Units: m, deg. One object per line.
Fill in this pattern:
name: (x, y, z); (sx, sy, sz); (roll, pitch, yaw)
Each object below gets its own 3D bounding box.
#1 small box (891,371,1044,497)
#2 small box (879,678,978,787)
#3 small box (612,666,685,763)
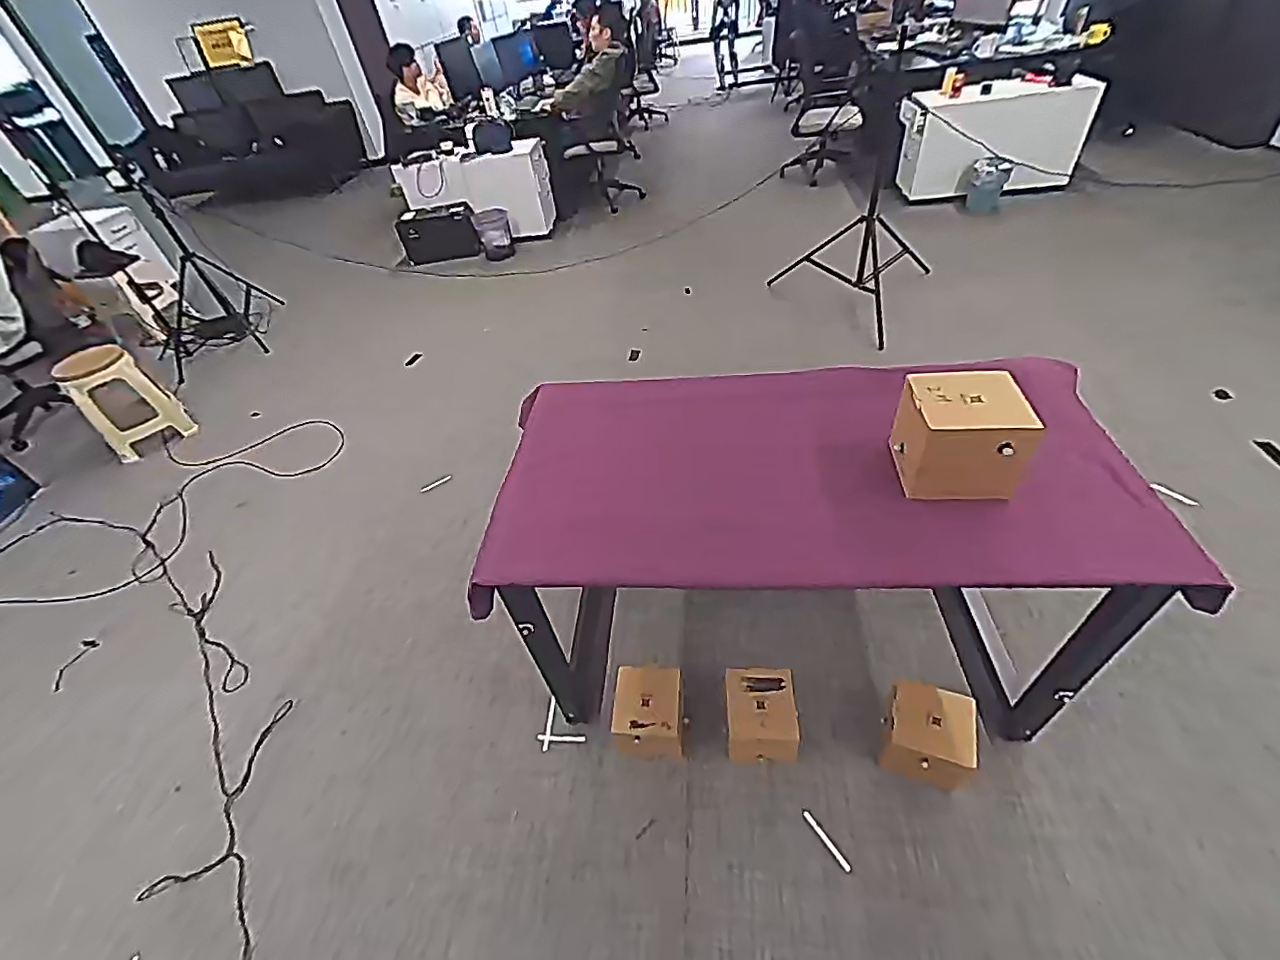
small box: (0.579, -0.081, 0.985); (0.179, 0.176, 0.168); (-1, 44, 10)
small box: (0.693, 0.614, 1.307); (0.179, 0.176, 0.168); (10, 48, 21)
small box: (0.029, 0.615, 1.421); (0.168, 0.176, 0.179); (0, 43, 10)
